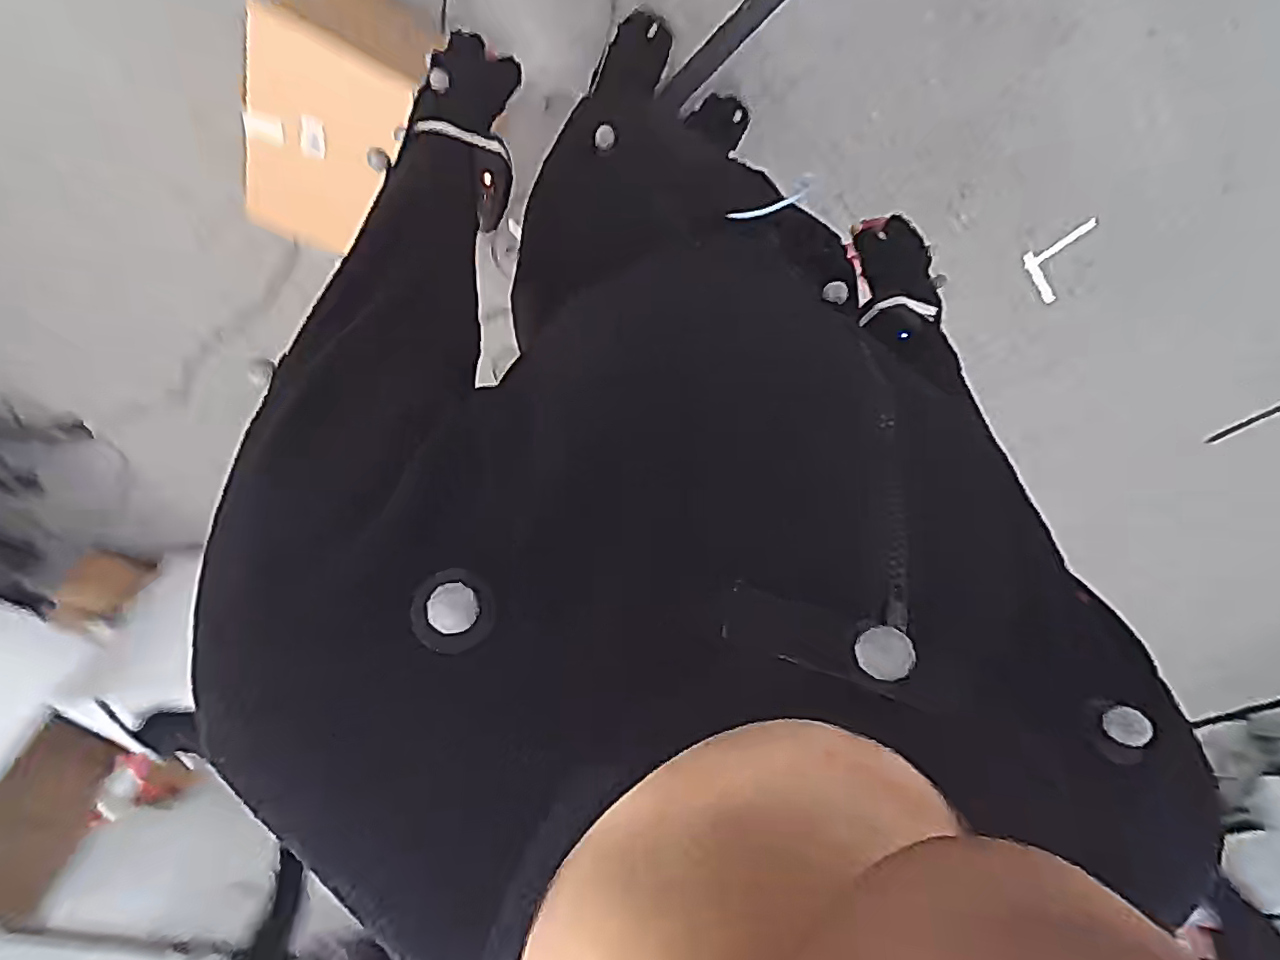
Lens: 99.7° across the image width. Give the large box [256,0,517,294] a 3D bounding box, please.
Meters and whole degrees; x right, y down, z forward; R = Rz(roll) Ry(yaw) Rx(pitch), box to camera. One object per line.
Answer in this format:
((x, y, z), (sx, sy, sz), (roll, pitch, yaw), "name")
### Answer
((-0.443, -0.624, 0.989), (0.320, 0.408, 0.320), (19, 132, -21), "large box")
